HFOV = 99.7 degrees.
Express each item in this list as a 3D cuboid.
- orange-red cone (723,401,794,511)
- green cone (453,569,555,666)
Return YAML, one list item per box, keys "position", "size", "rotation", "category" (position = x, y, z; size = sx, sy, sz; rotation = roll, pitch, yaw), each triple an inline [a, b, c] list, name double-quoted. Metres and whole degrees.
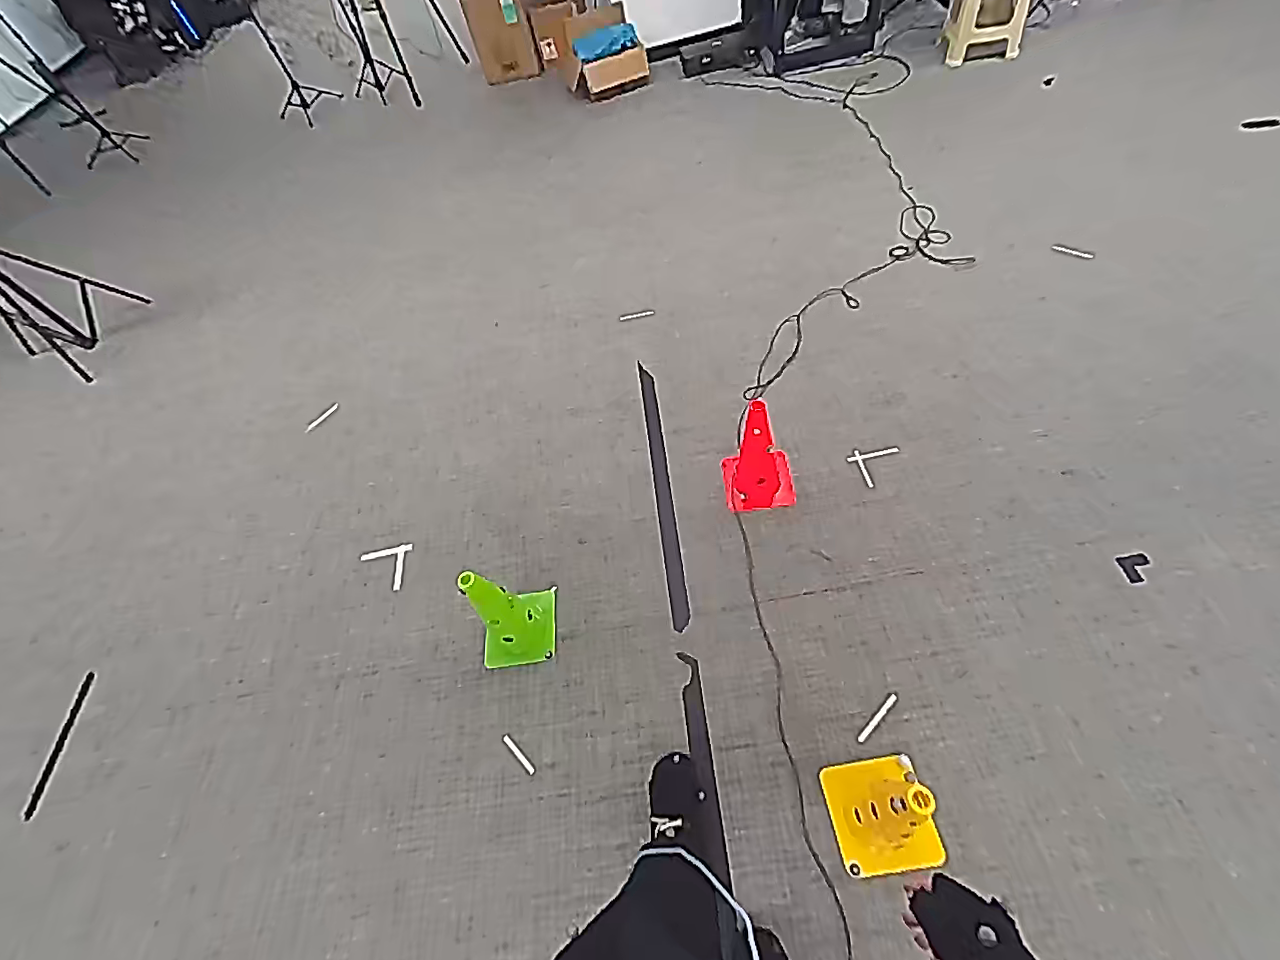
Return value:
- position: [0.328, -0.090, 1.500]
  size: [0.199, 0.360, 0.198]
  rotation: [-6, 56, 7]
  category: "orange-red cone"
- position: [-0.367, 0.313, 1.368]
  size: [0.202, 0.368, 0.200]
  rotation: [-11, 54, 6]
  category: "green cone"
